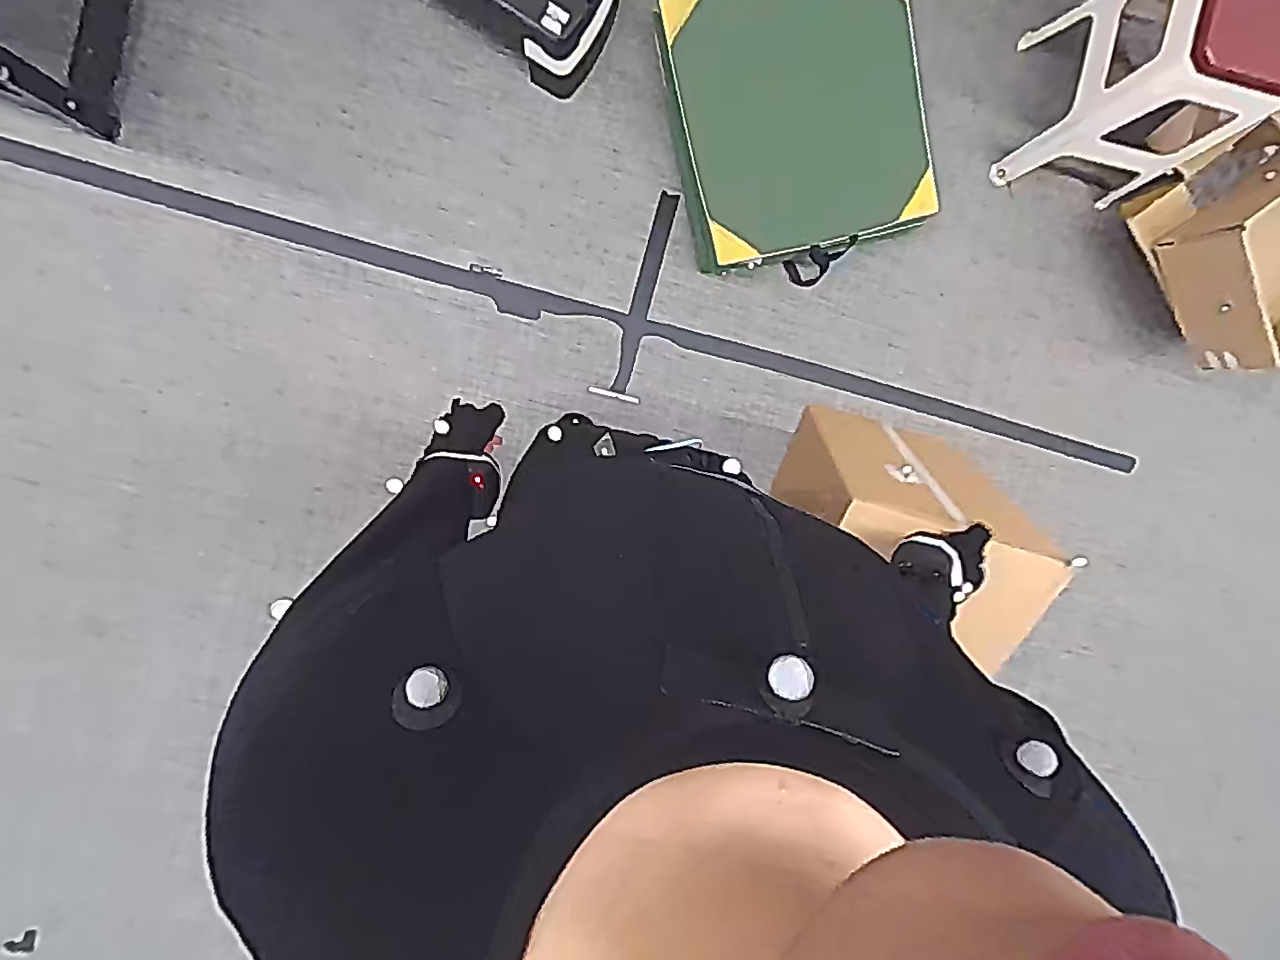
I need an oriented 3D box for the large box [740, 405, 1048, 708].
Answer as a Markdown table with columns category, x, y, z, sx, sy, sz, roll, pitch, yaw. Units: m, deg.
| category | x | y | z | sx | sy | sz | roll | pitch | yaw |
| --- | --- | --- | --- | --- | --- | --- | --- | --- | --- |
| large box | 0.387 | 0.113 | 0.968 | 0.320 | 0.408 | 0.320 | 16 | 119 | -2 |
